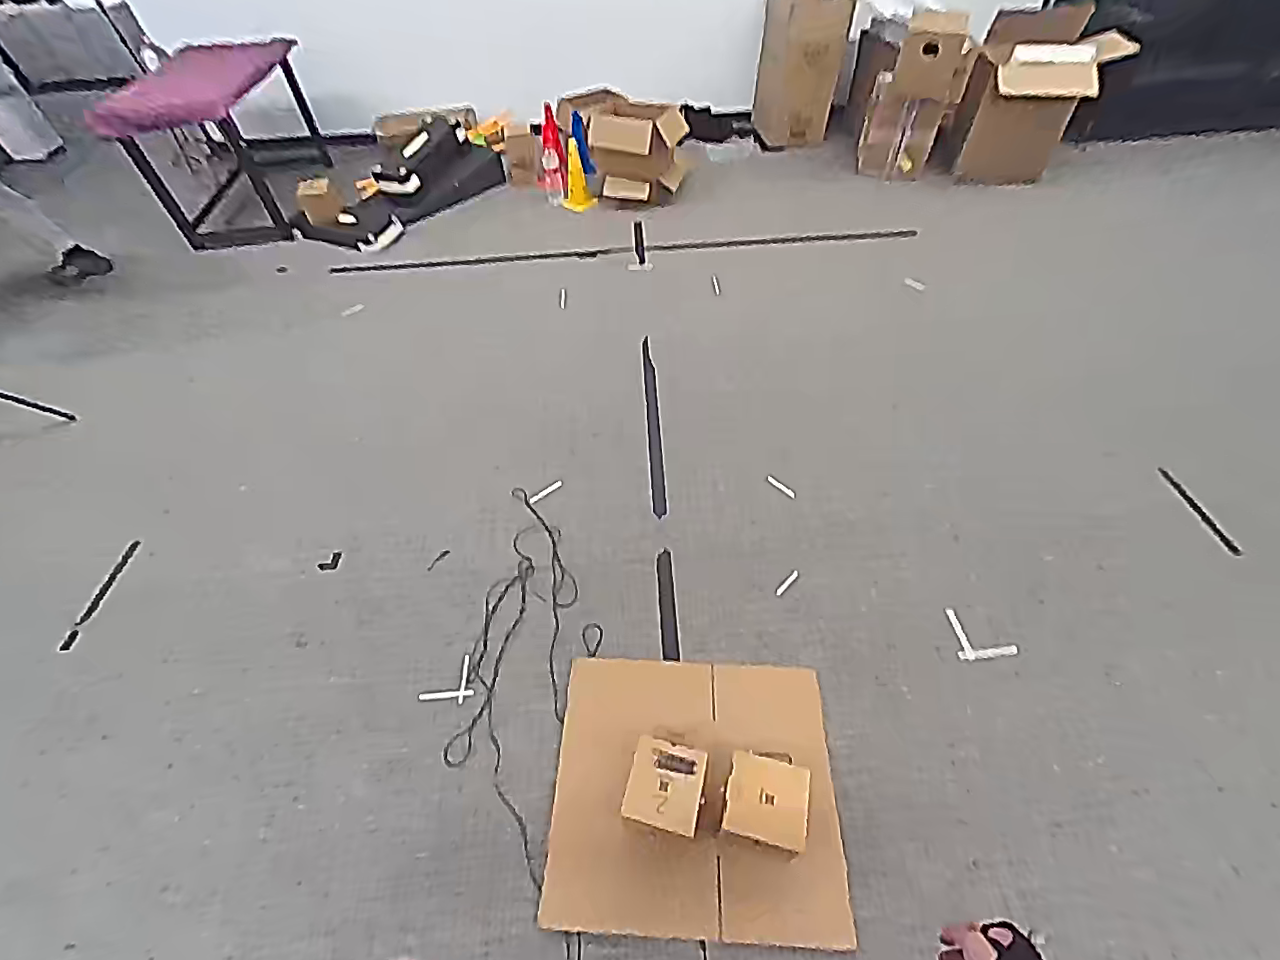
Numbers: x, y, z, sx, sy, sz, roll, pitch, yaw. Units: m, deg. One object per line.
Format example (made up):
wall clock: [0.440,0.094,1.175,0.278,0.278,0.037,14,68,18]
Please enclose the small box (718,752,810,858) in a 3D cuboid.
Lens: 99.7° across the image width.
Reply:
small box: [0.287,0.767,1.270,0.179,0.176,0.168,11,52,12]
